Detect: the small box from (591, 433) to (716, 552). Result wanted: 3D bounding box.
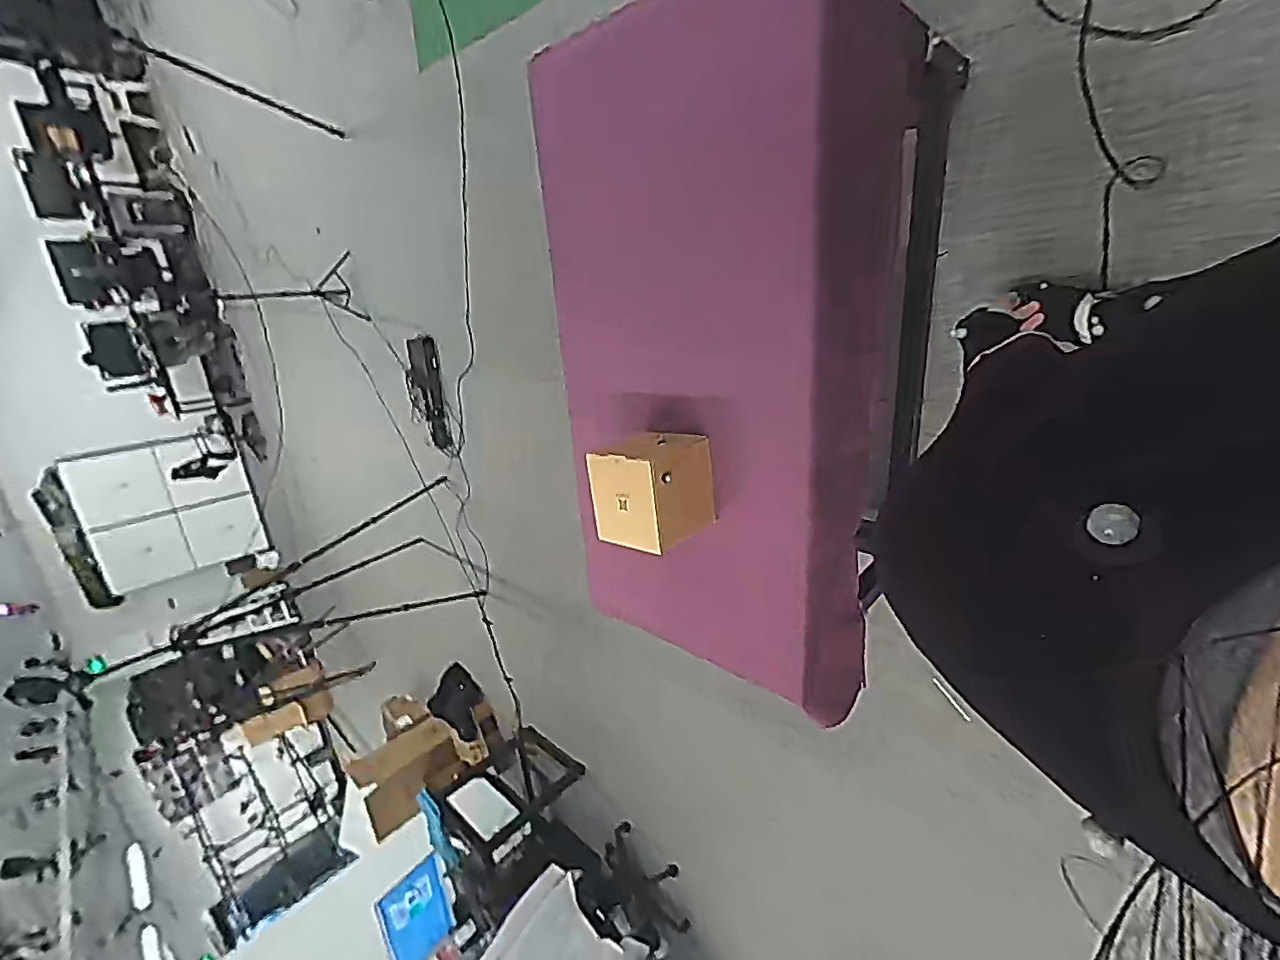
[{"bbox_3d":[0.032,0.016,1.036,0.168,0.176,0.179,8,111,44],"label":"small box"}]
